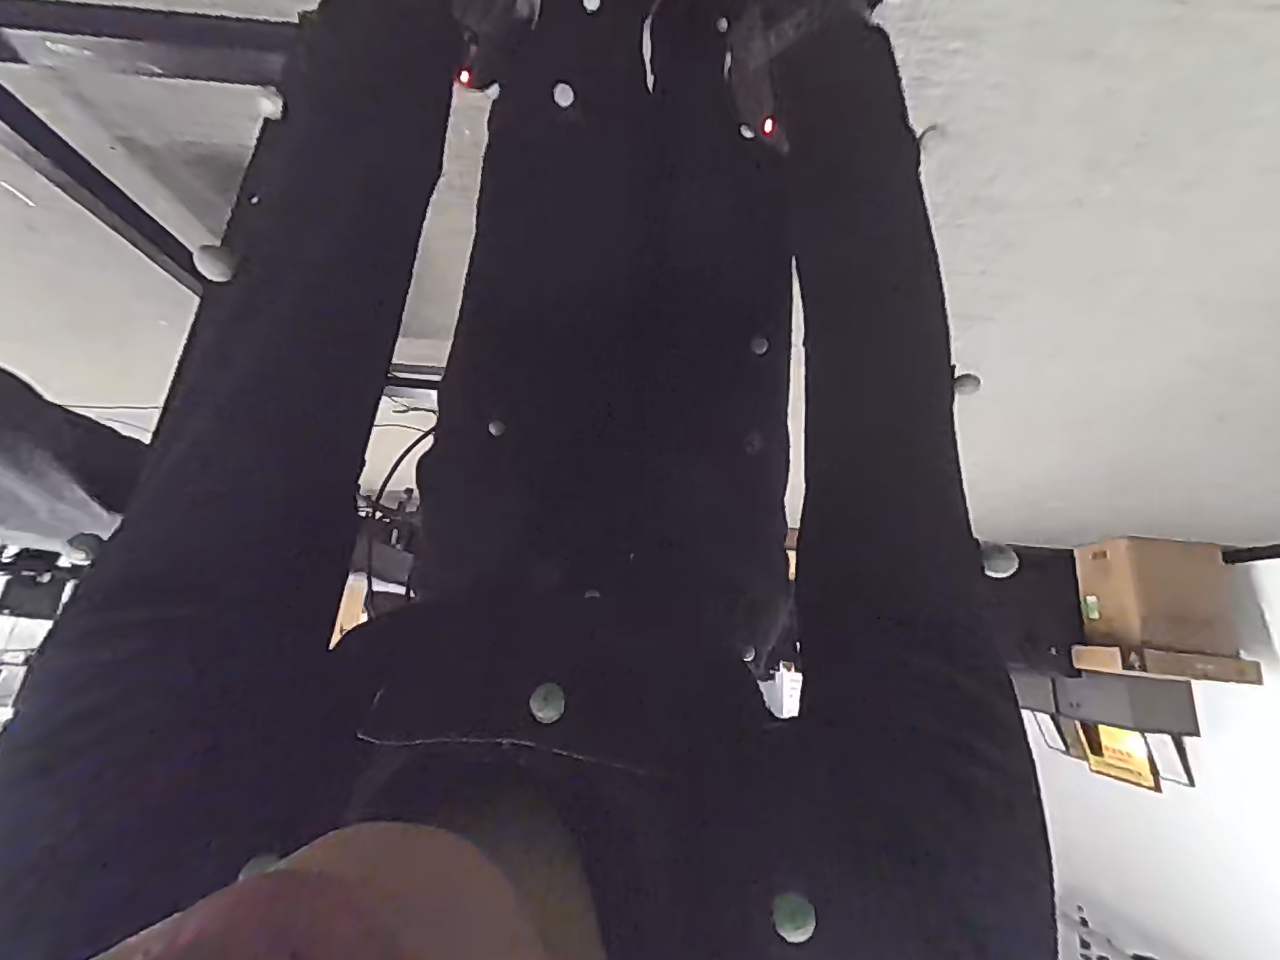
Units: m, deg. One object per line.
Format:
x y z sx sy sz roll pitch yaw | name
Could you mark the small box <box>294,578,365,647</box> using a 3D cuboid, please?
-0.856 0.345 1.422 0.168 0.176 0.179 4 165 2 | small box
